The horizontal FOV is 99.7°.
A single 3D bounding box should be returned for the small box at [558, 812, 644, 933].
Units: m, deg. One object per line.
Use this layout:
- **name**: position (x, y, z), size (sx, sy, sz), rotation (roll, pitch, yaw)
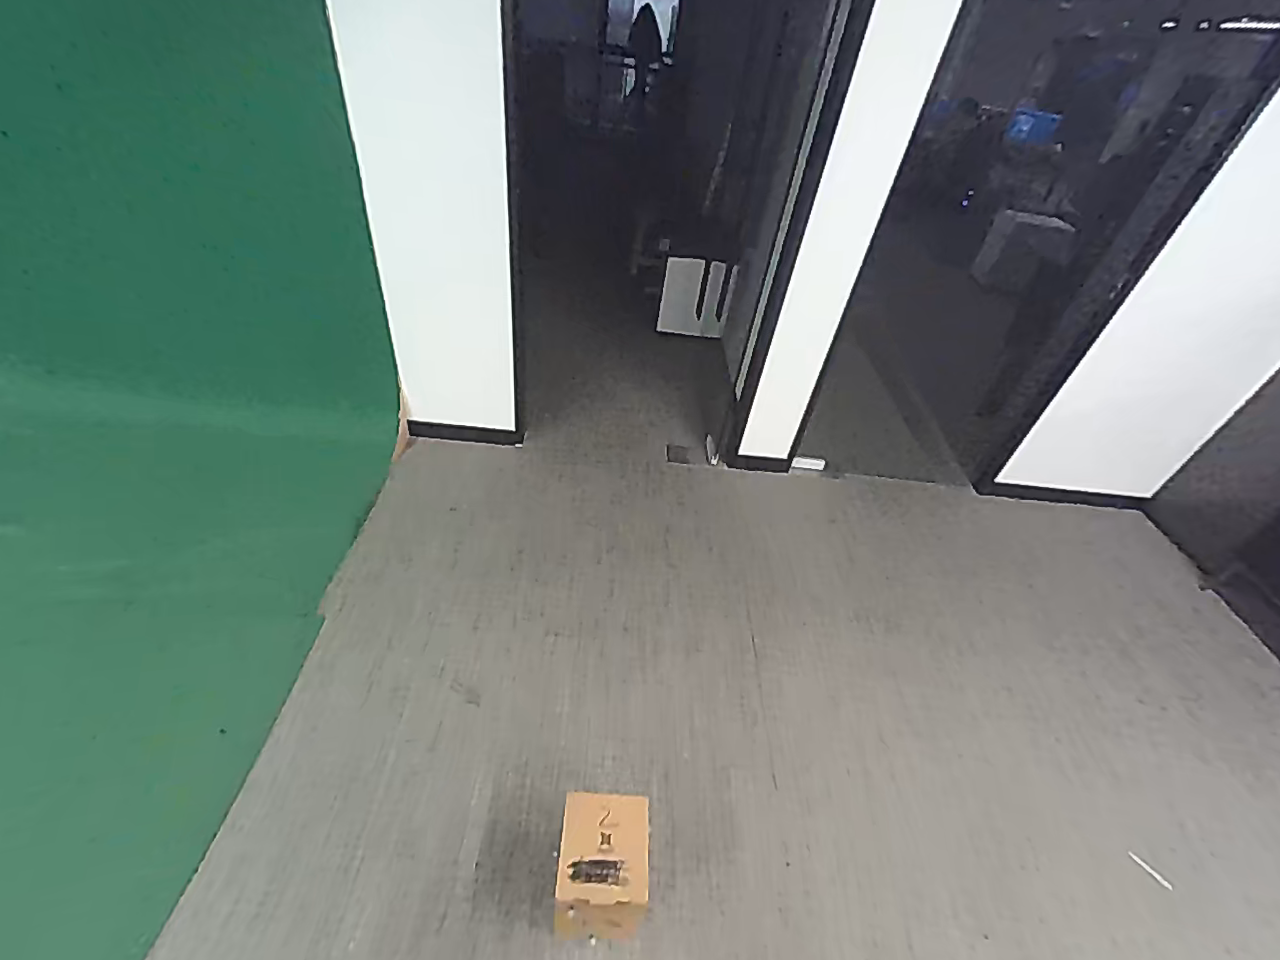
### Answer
- **small box**: position (-0.086, 0.852, 1.173), size (0.168, 0.176, 0.179), rotation (6, 42, -3)
